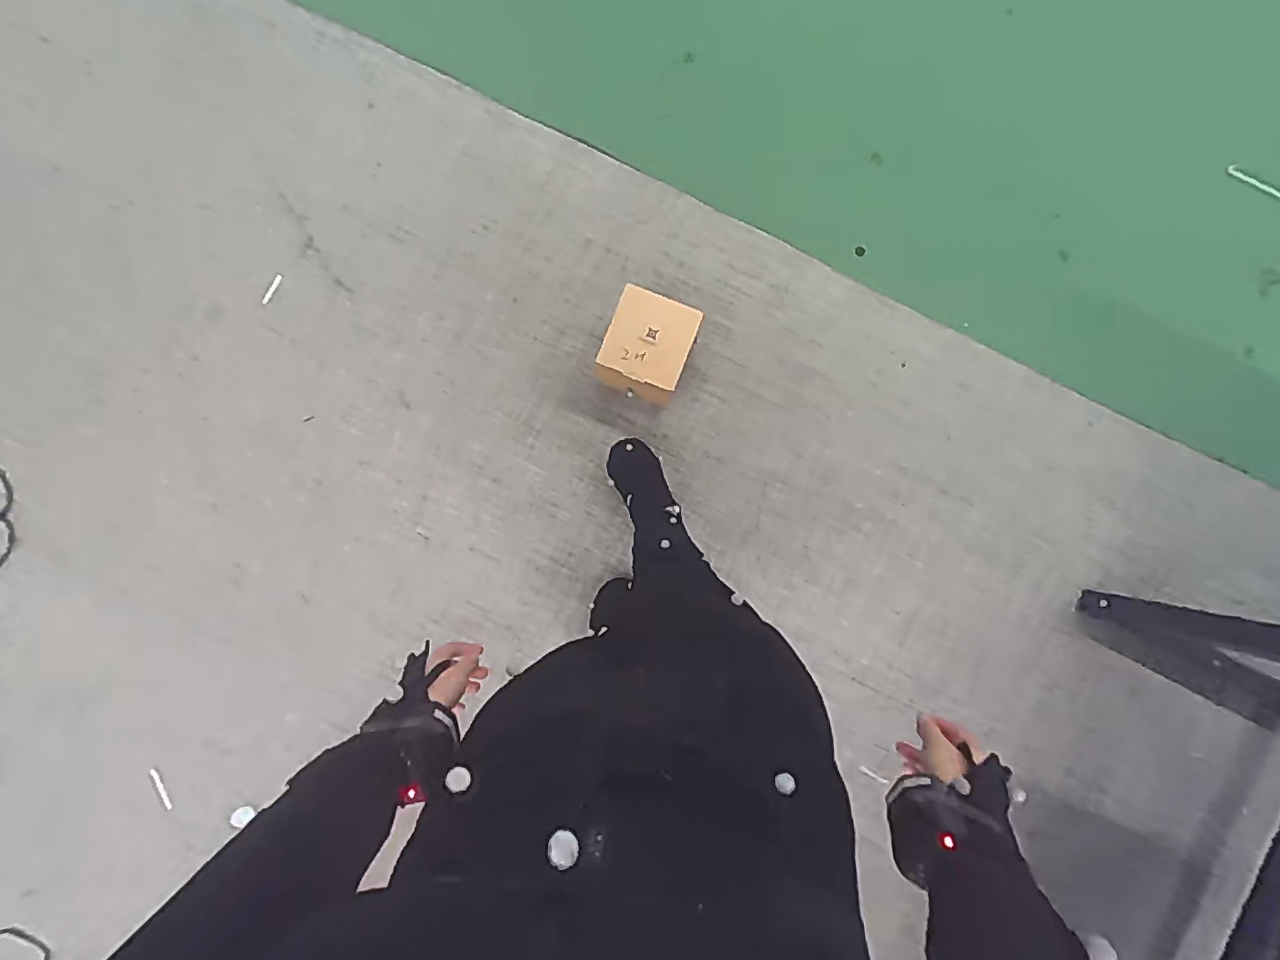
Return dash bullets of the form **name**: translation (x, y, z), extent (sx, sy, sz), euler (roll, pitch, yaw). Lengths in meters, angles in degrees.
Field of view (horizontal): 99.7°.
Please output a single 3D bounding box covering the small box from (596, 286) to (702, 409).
- **small box**: translation (0.013, -0.271, 1.143), extent (0.168, 0.176, 0.179), euler (22, 86, -1)
